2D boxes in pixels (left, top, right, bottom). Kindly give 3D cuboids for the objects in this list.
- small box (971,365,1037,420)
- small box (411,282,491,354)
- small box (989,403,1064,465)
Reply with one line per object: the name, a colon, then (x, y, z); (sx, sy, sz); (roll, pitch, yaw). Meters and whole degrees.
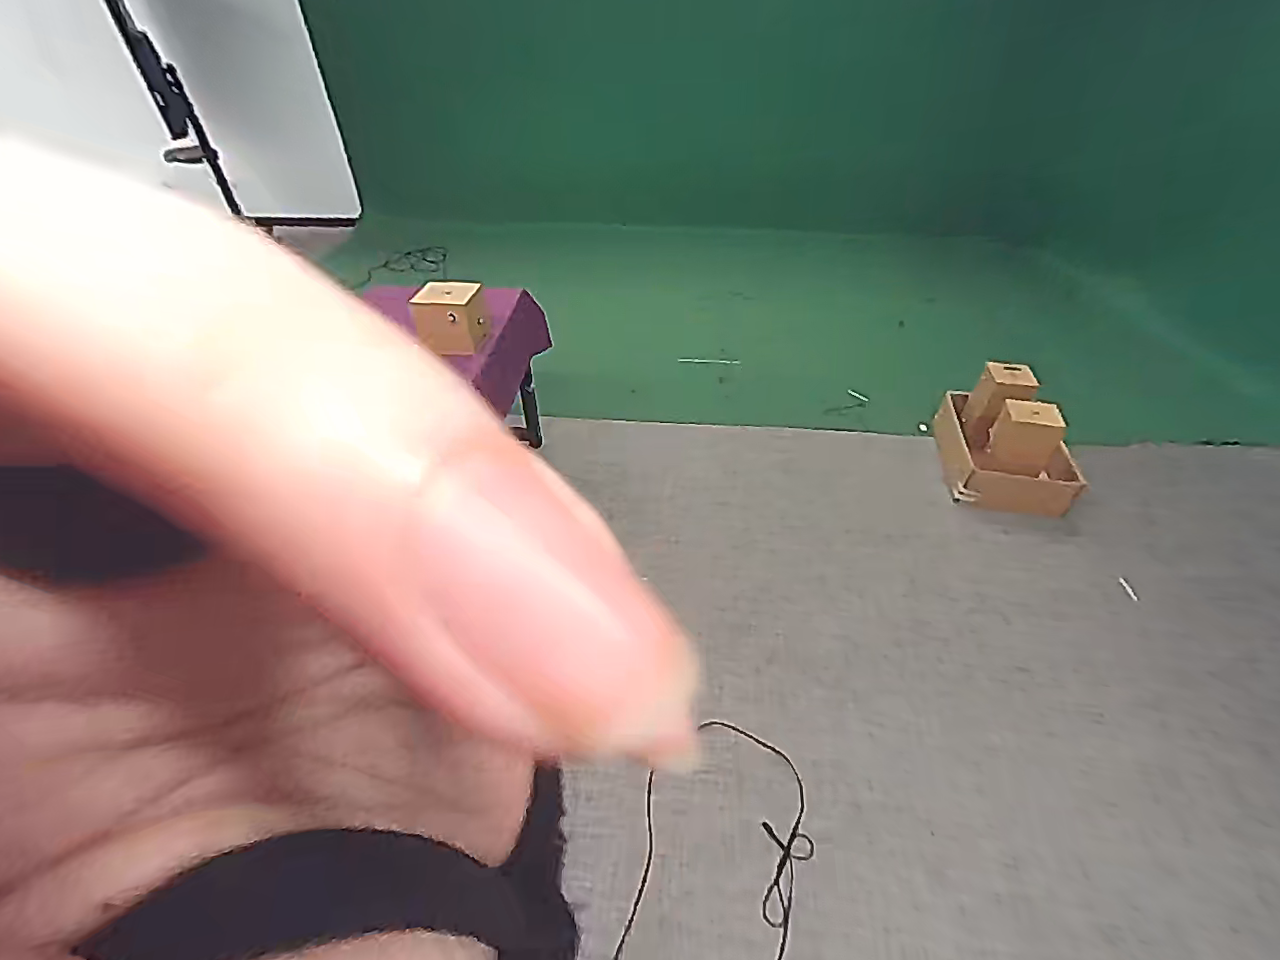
small box: (1.563, -0.374, 2.333); (0.168, 0.176, 0.179); (9, 42, 9)
small box: (-0.584, -0.508, 1.702); (0.179, 0.176, 0.168); (3, 40, 5)
small box: (1.503, -0.179, 2.111); (0.179, 0.176, 0.168); (11, 41, 16)
